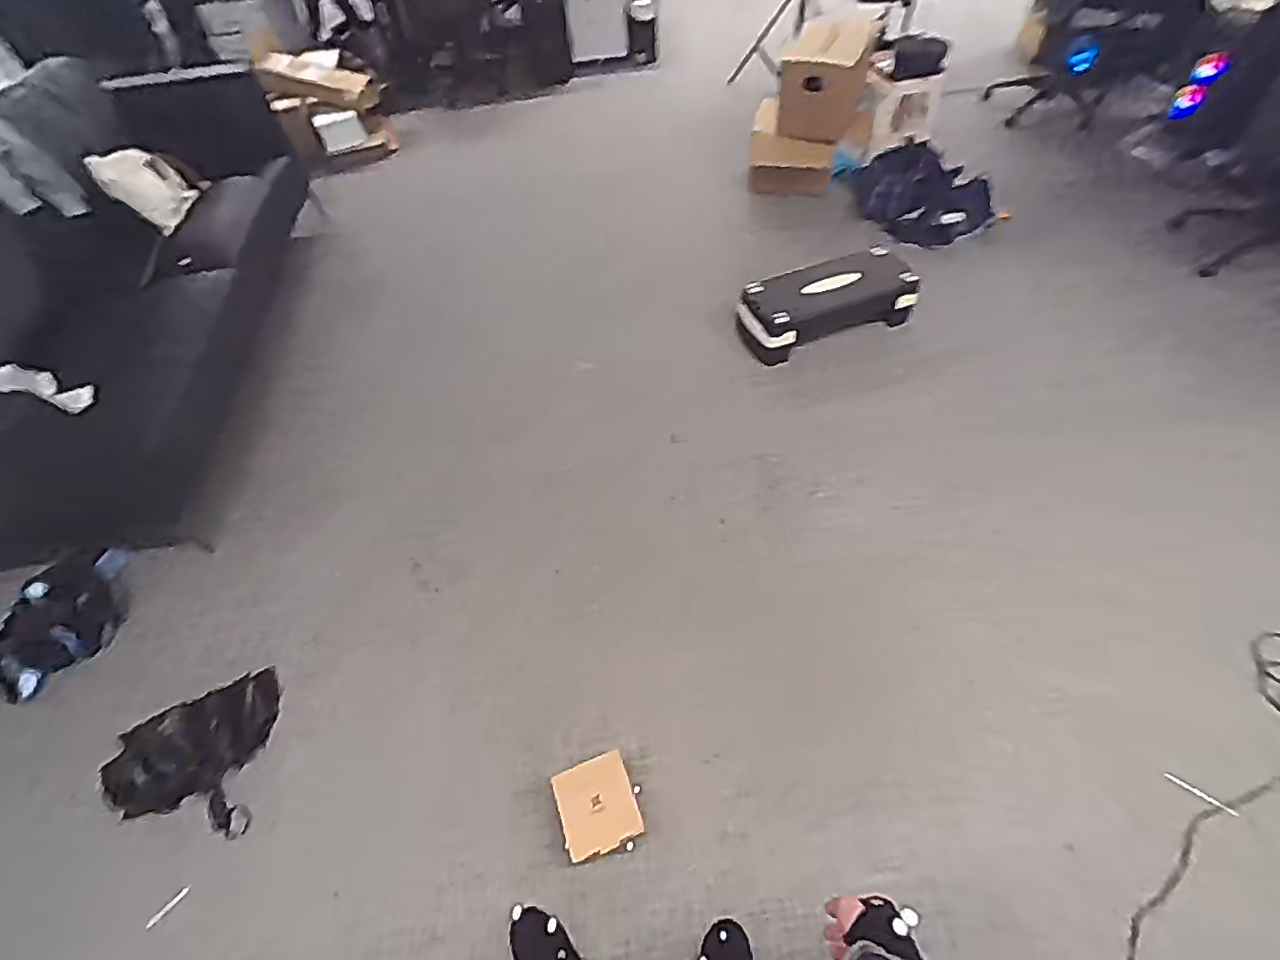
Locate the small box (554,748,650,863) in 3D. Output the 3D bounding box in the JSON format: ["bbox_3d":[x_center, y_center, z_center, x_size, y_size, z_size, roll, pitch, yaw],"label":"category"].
[{"bbox_3d":[-0.084,0.755,1.251,0.168,0.176,0.179,-20,54,-10],"label":"small box"}]
